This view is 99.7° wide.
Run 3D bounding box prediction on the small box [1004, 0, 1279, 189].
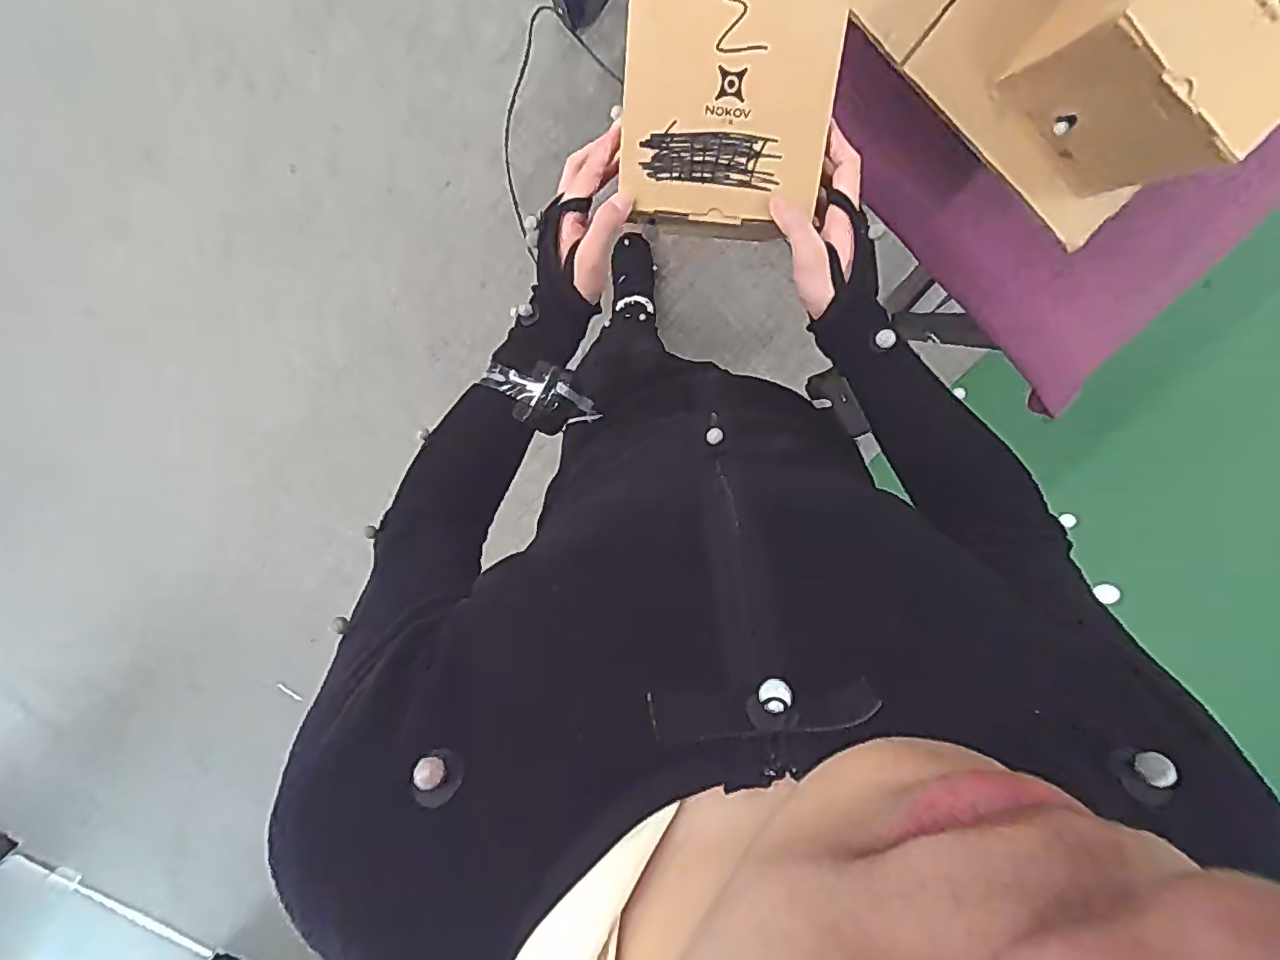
[{"bbox_3d":[0.485,-0.397,0.481,0.168,0.176,0.179,36,106,-12],"label":"small box"}]
